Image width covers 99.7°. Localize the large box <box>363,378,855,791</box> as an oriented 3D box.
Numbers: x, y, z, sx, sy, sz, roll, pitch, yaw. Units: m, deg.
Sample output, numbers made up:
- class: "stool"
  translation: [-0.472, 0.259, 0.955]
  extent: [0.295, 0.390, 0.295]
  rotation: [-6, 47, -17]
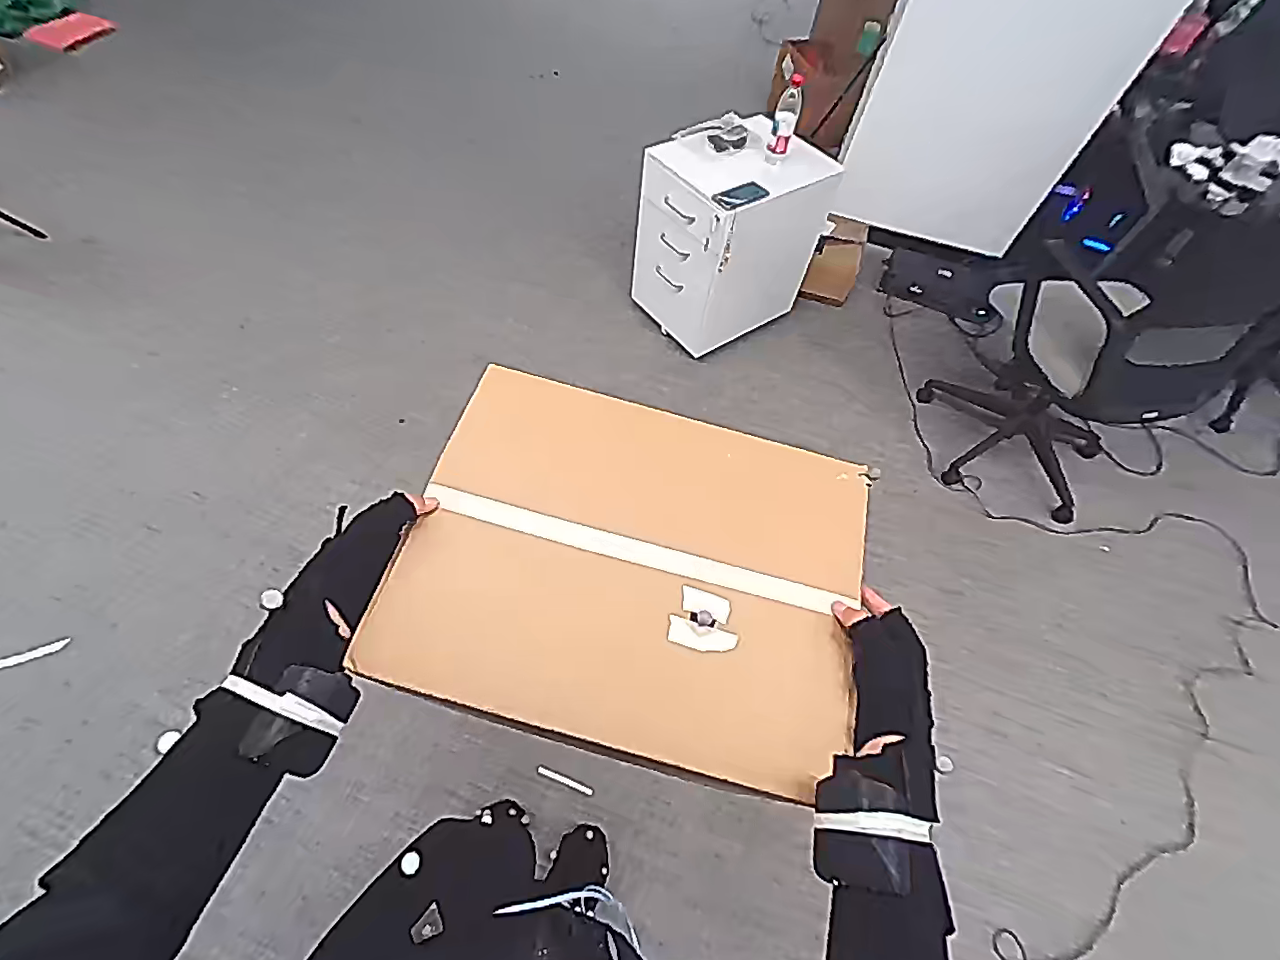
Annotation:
- class: "large box"
  translation: [-0.018, 0.136, 0.631]
  extent: [0.408, 0.320, 0.320]
  rotation: [16, 63, 0]
